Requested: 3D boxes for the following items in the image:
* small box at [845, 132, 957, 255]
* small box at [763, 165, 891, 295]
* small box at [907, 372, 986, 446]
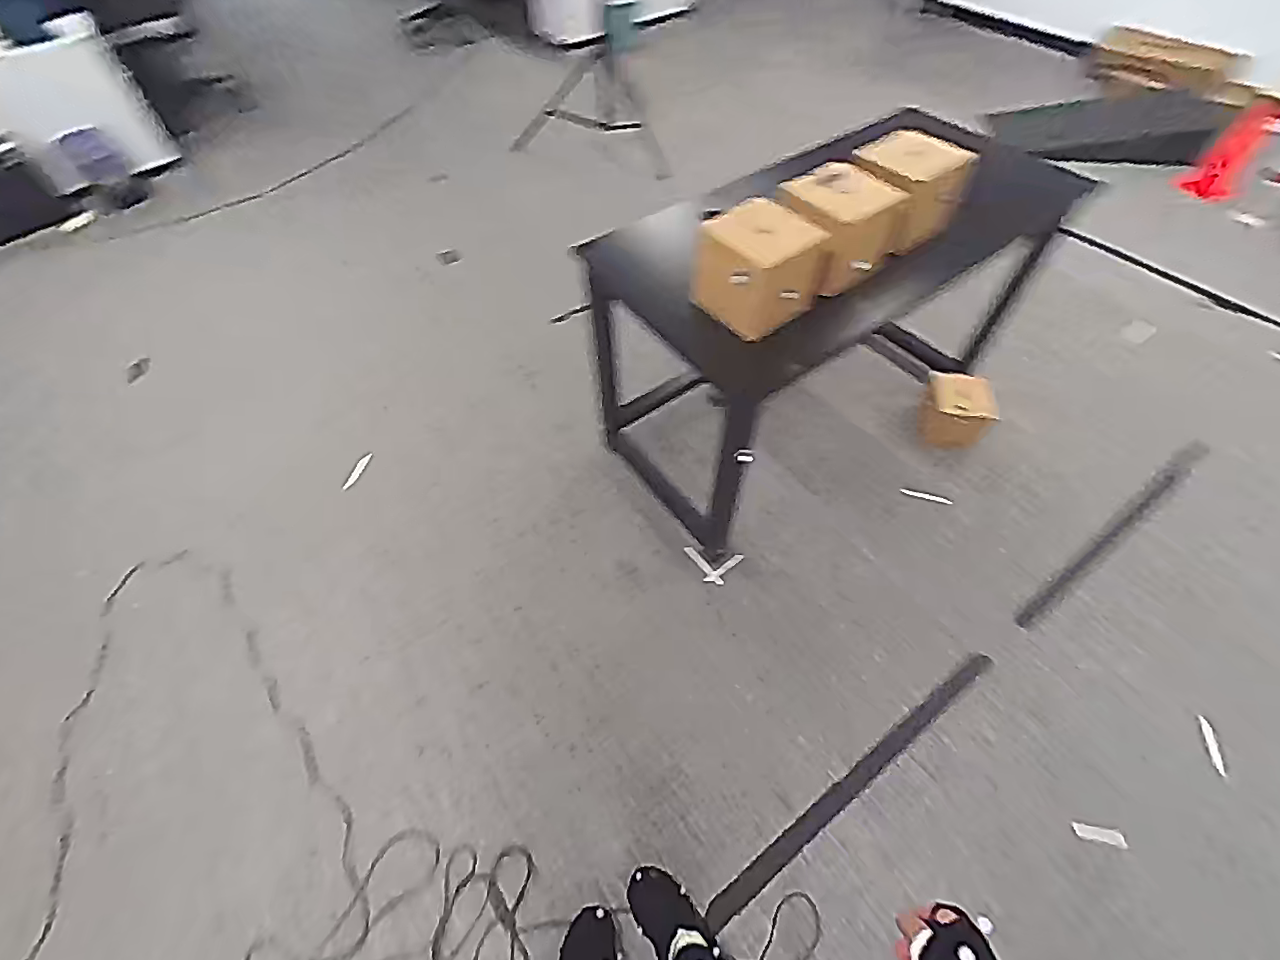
[{"bbox_3d":[0.564,-0.648,1.225,0.179,0.176,0.168,-34,60,-19],"label":"small box"},{"bbox_3d":[0.383,-0.527,1.146,0.168,0.176,0.179,-33,61,-18],"label":"small box"},{"bbox_3d":[1.014,-0.236,1.809,0.168,0.176,0.179,4,56,5],"label":"small box"}]
